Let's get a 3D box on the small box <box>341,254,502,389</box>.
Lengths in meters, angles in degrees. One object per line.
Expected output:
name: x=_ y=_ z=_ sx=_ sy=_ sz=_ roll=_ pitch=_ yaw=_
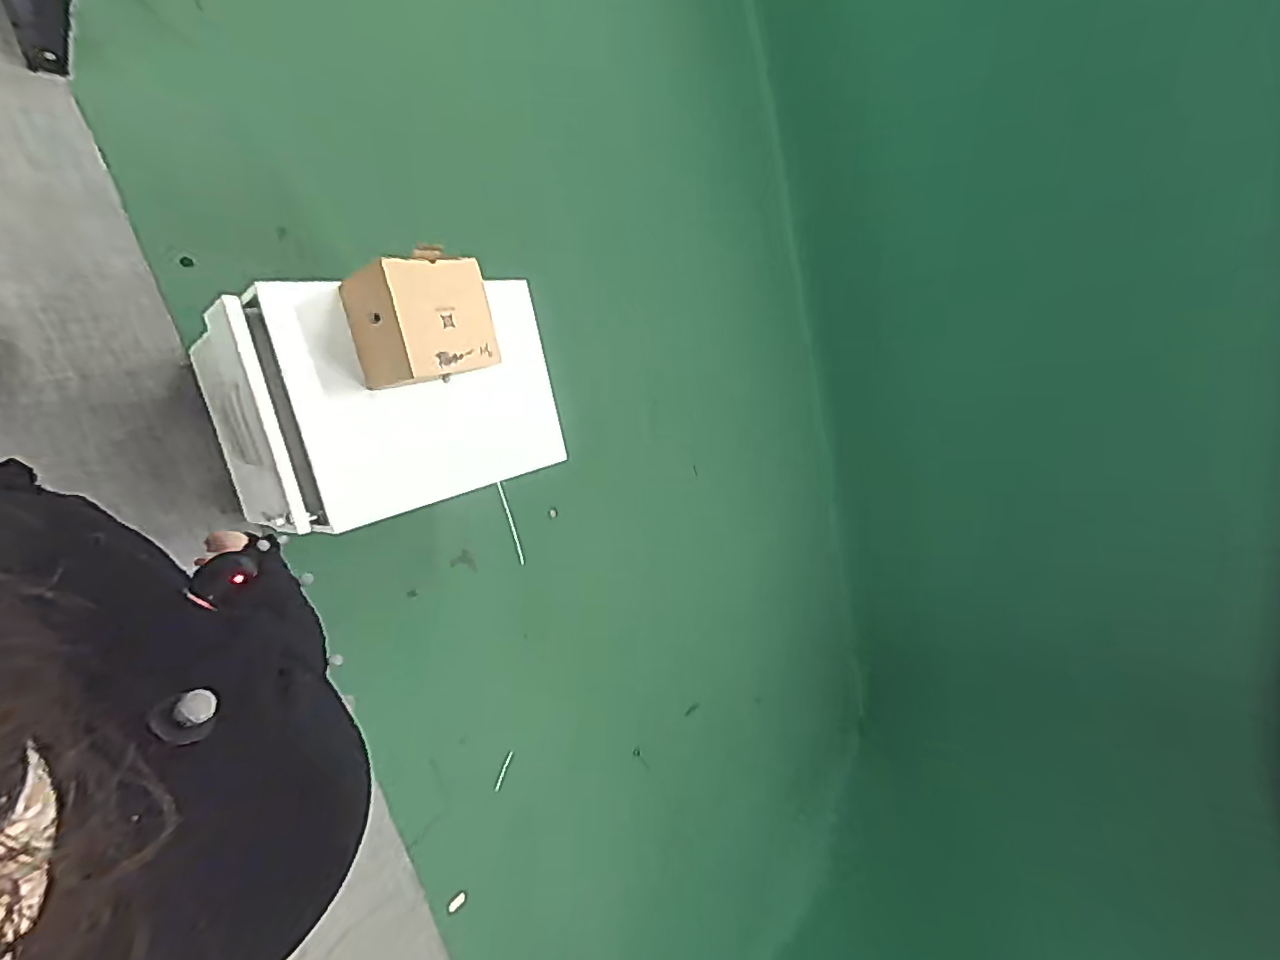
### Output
small box: x=-0.361 y=-0.256 z=0.889 sx=0.168 sy=0.176 sz=0.179 roll=-24 pitch=108 yaw=-46
